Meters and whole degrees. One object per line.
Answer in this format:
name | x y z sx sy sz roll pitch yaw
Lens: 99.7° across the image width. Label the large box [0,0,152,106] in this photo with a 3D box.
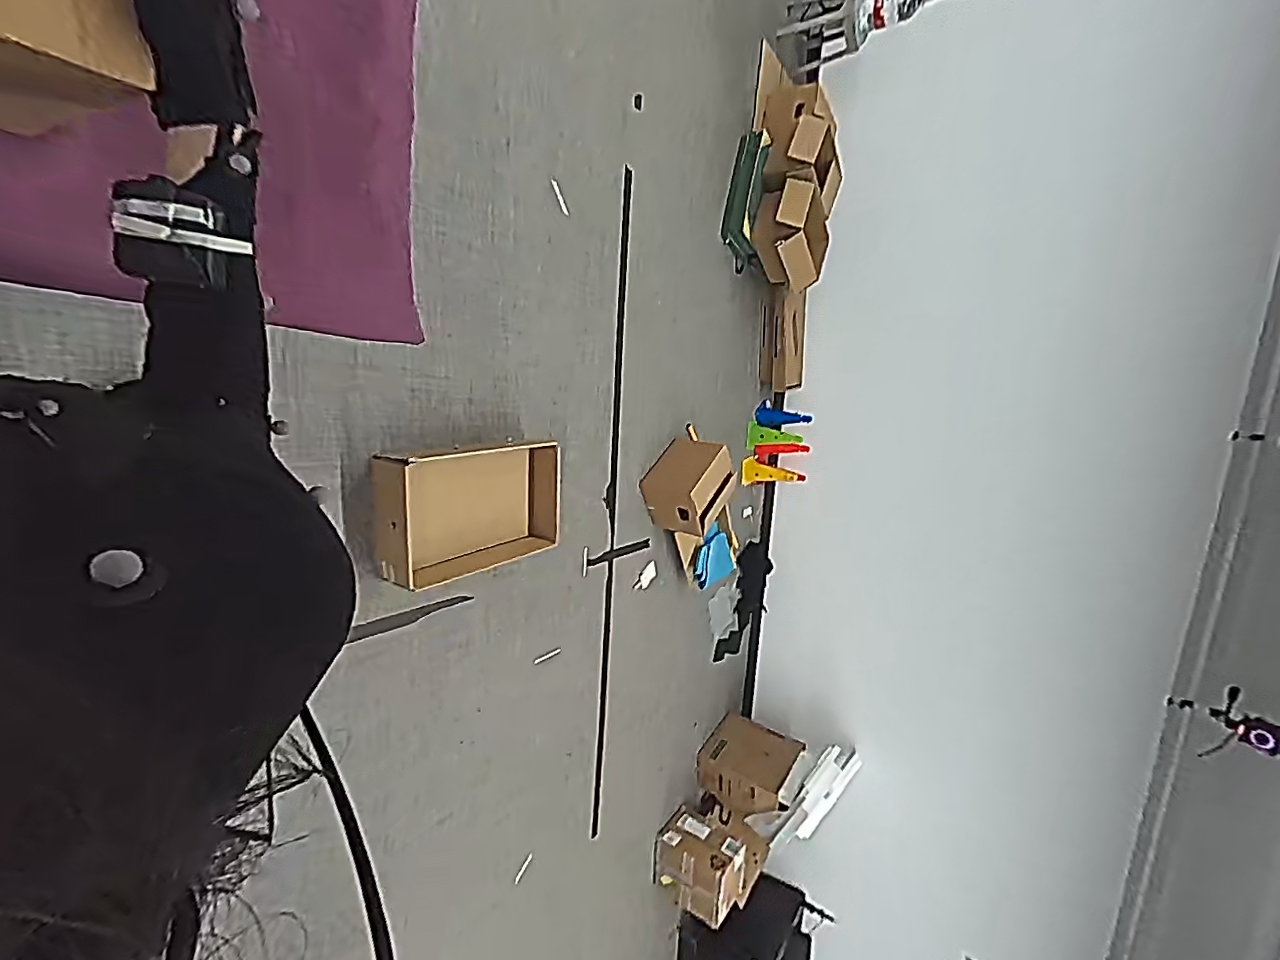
large box | -0.534 -0.422 0.225 0.408 0.320 0.320 -15 118 -58
